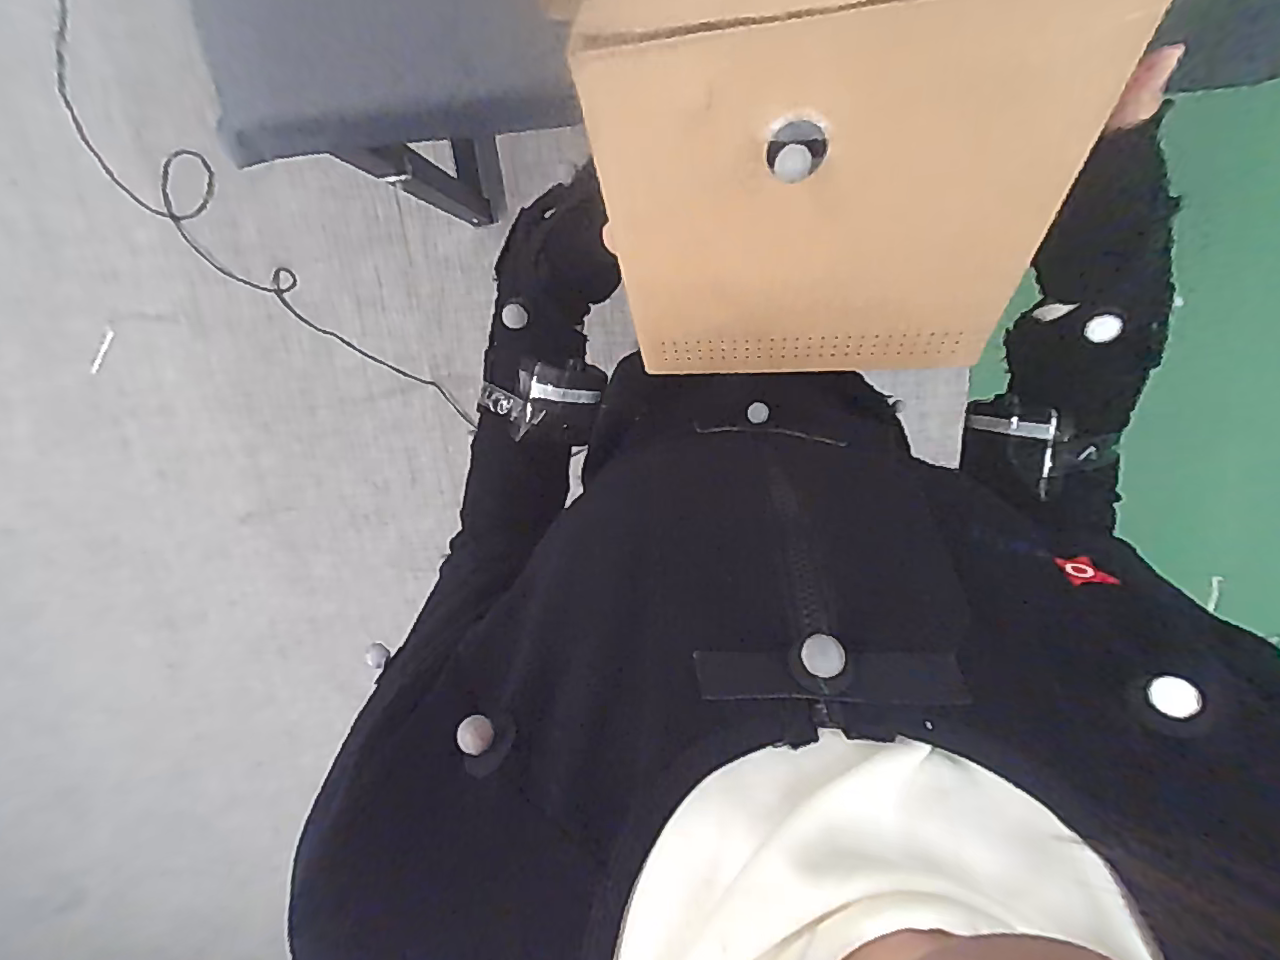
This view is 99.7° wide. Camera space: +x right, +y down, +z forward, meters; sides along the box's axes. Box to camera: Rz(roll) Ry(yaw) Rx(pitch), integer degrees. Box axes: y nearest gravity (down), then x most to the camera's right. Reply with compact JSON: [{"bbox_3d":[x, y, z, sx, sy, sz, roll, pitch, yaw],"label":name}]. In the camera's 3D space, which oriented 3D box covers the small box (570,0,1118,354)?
[{"bbox_3d":[0.083,-0.179,0.271,0.179,0.176,0.168,2,62,10],"label":"small box"}]
